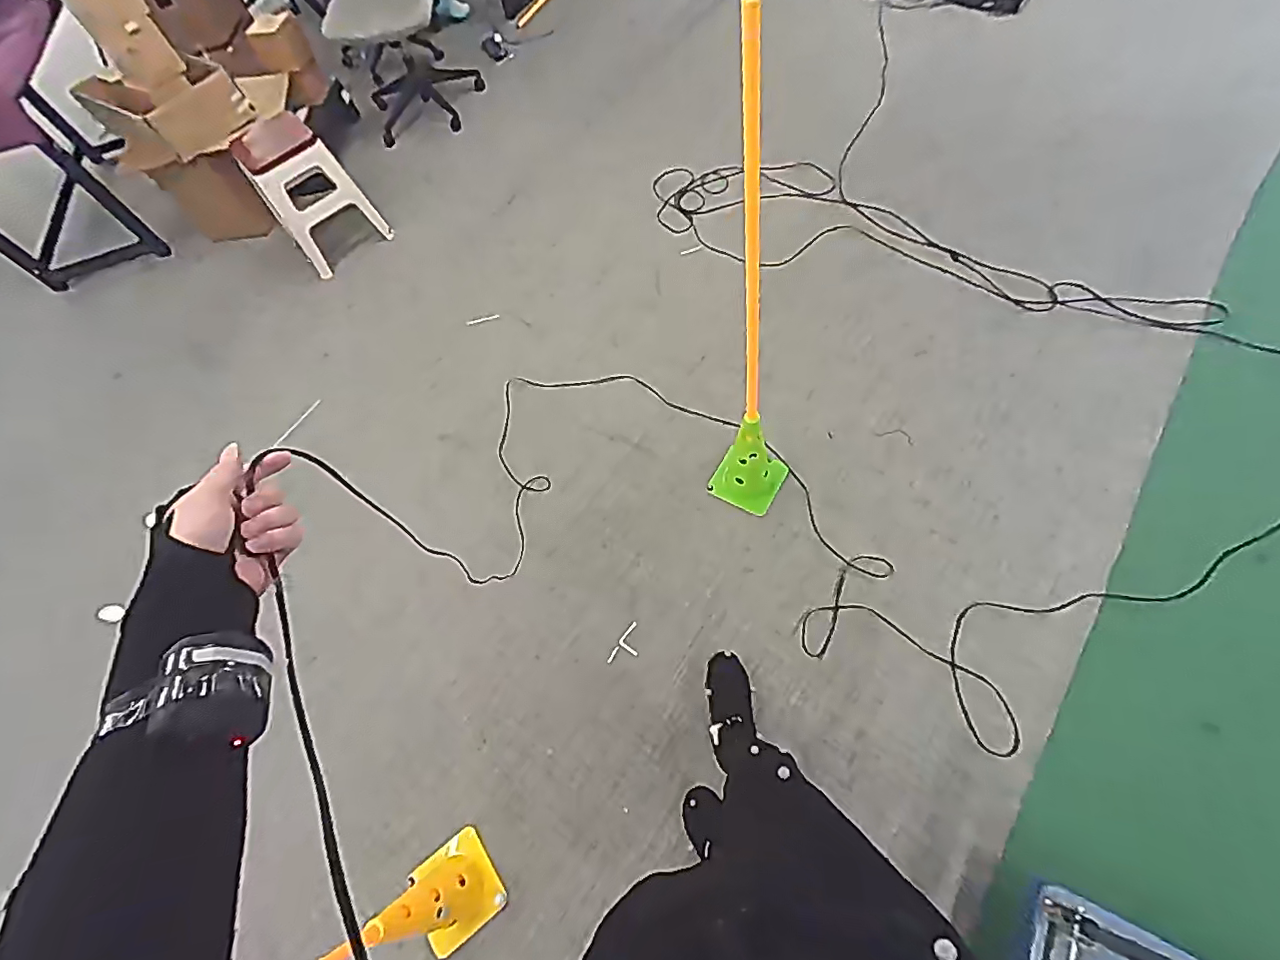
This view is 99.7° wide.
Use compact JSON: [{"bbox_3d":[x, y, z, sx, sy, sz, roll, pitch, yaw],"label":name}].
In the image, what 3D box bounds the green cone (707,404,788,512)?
[{"bbox_3d":[0.315,-0.092,1.532,0.200,0.368,0.202,26,69,20],"label":"green cone"}]
